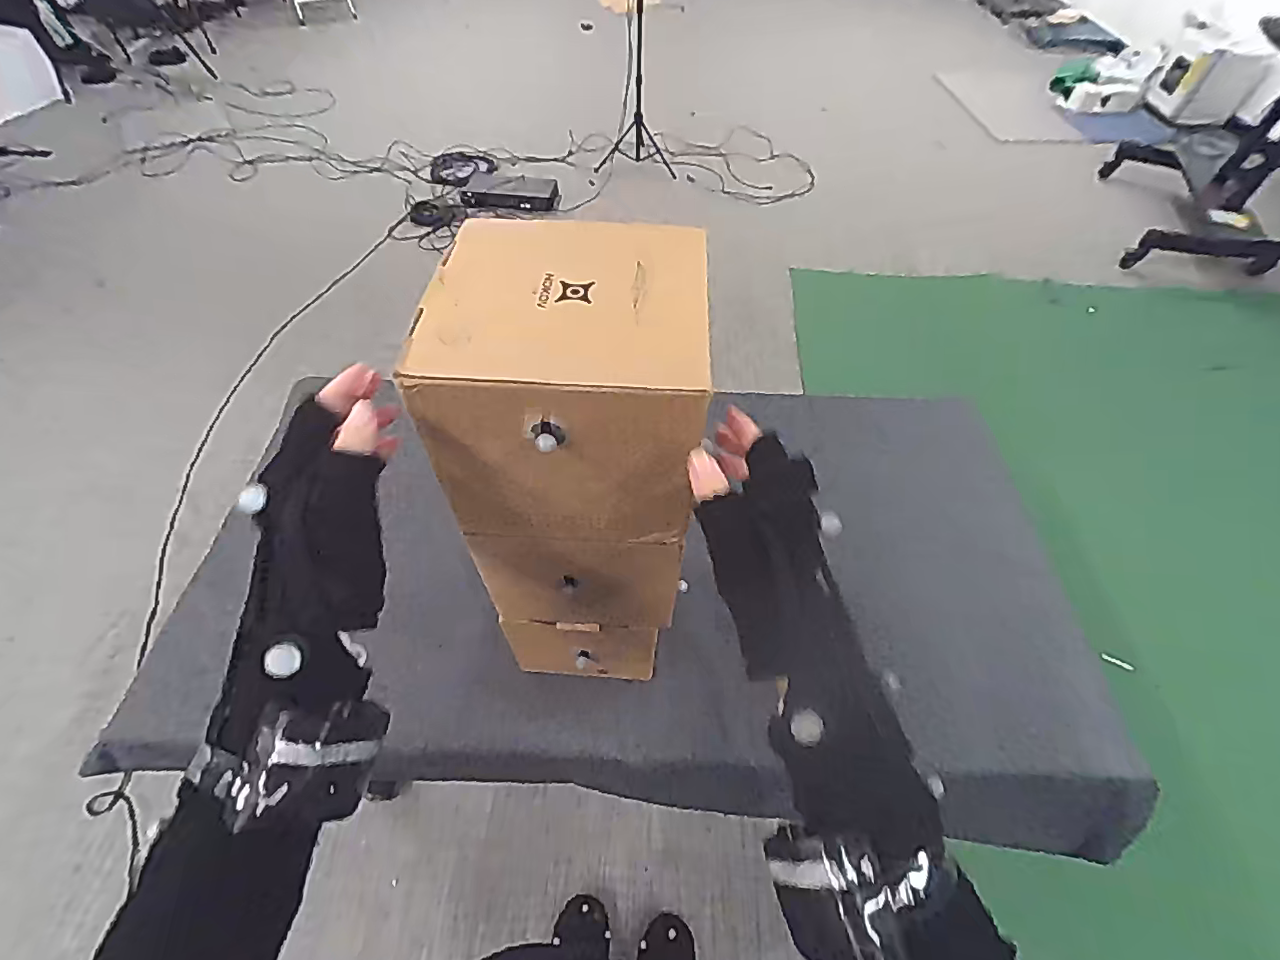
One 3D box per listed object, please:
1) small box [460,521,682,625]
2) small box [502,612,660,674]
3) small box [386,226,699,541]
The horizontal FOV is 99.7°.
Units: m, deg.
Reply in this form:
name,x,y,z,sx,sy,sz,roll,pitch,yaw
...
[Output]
name,x,y,z,sx,sy,sz,roll,pitch,yaw
small box,-0.052,0.033,0.533,0.179,0.176,0.168,2,53,2
small box,-0.057,0.128,0.666,0.168,0.176,0.179,2,54,2
small box,-0.051,-0.066,0.404,0.179,0.176,0.168,2,54,1
